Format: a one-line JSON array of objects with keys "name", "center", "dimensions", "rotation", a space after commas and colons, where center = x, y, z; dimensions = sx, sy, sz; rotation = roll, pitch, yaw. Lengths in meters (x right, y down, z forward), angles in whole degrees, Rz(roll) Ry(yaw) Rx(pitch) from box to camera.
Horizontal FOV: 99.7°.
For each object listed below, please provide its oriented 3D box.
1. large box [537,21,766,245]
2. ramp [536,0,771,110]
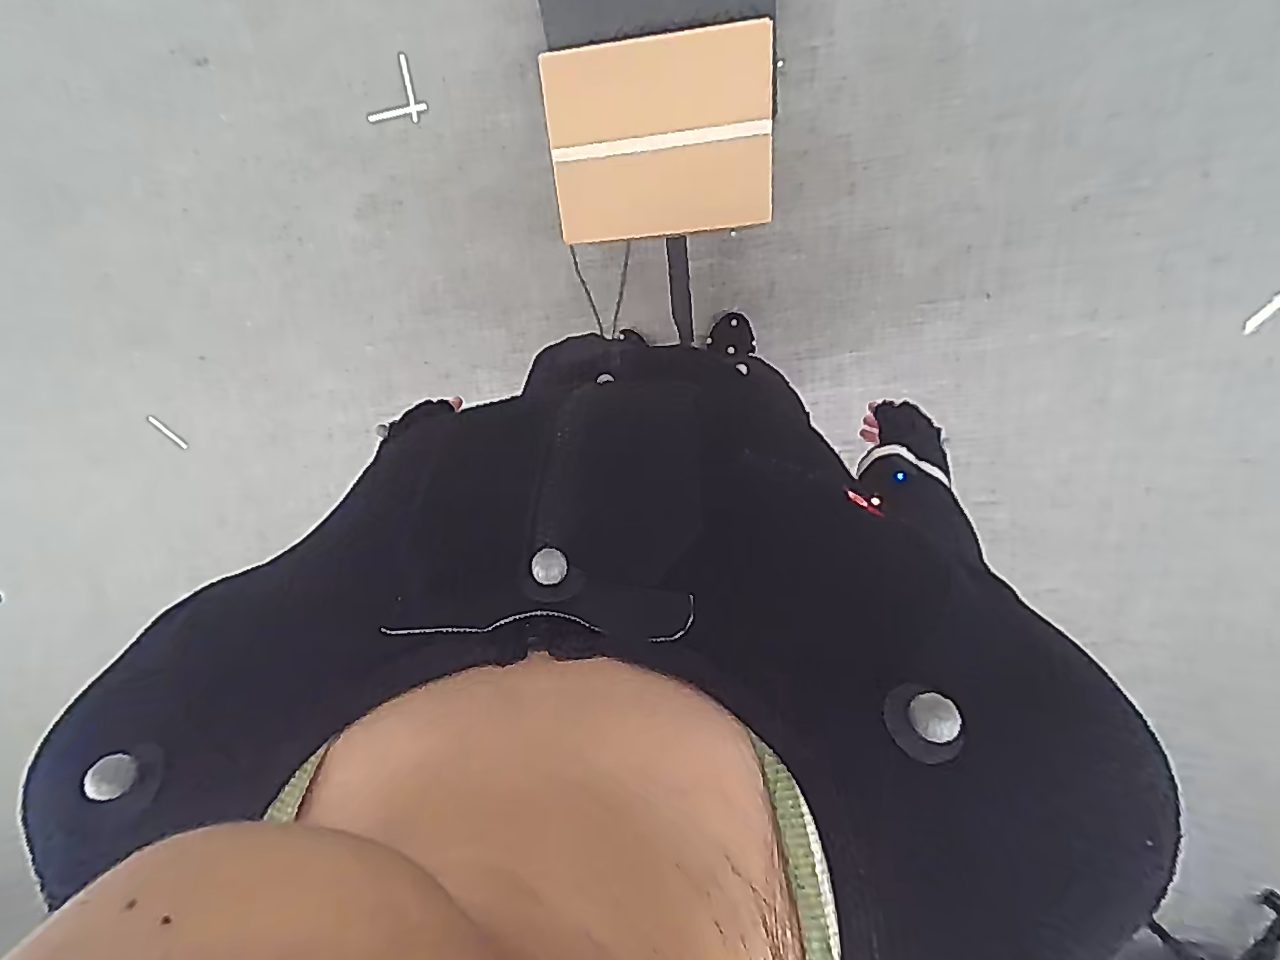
[{"name": "large box", "center": [0.043, -0.680, 1.126], "dimensions": [0.408, 0.320, 0.320], "rotation": [-3, 113, 8]}, {"name": "ramp", "center": [-0.011, -1.239, 1.009], "dimensions": [0.509, 0.206, 0.991], "rotation": [-6, 109, 8]}]
